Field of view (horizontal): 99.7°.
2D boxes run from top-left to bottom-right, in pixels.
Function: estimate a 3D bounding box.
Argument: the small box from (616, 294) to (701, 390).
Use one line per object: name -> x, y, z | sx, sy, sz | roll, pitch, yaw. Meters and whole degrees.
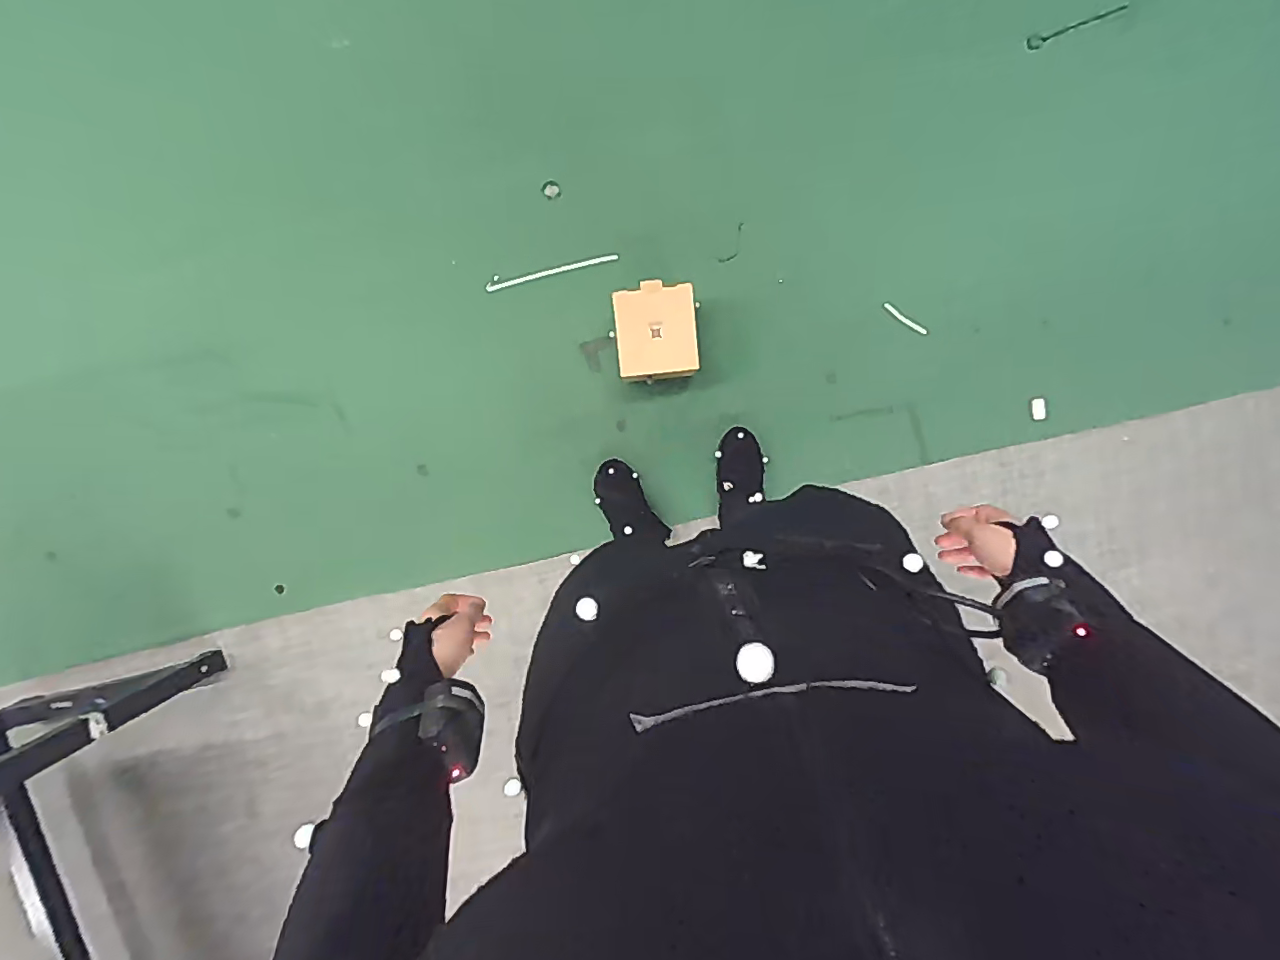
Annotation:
small box -> 0.043, -0.294, 1.193 | 0.168, 0.176, 0.179 | -6, 95, 2
